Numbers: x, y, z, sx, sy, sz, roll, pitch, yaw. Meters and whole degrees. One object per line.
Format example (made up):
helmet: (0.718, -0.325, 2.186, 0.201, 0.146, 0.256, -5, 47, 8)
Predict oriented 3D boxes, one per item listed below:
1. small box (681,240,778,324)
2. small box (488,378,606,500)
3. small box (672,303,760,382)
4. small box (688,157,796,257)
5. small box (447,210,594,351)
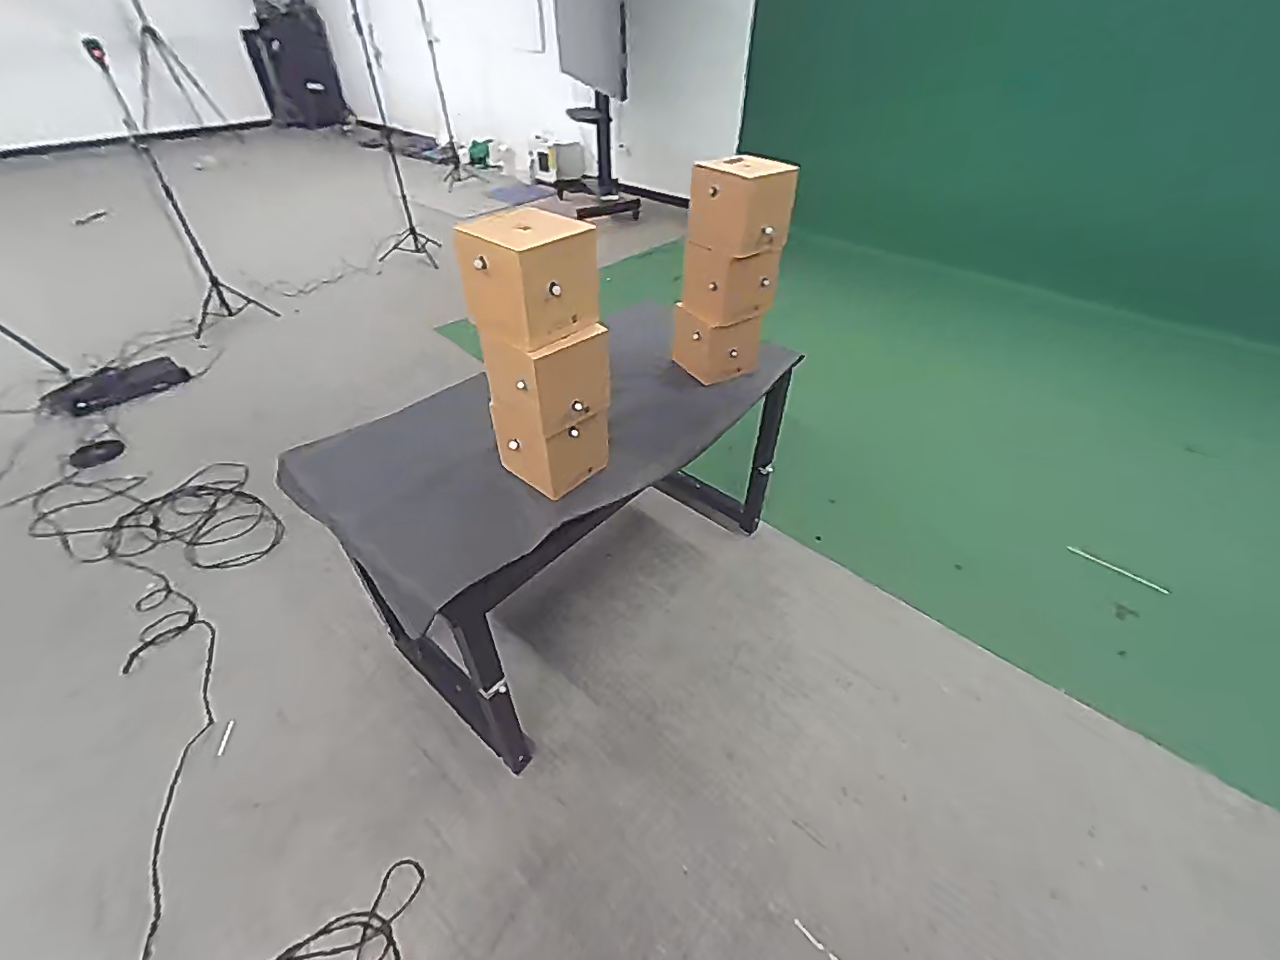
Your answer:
small box: (0.217, -0.505, 1.354, 0.168, 0.176, 0.179, -23, 44, -25)
small box: (-0.189, -0.086, 1.132, 0.179, 0.176, 0.168, 29, 49, 30)
small box: (0.198, -0.378, 1.455, 0.168, 0.176, 0.179, -20, 43, -21)
small box: (0.226, -0.630, 1.248, 0.168, 0.176, 0.179, -29, 49, -29)
small box: (-0.194, -0.339, 0.923, 0.179, 0.176, 0.168, 30, 49, 30)
